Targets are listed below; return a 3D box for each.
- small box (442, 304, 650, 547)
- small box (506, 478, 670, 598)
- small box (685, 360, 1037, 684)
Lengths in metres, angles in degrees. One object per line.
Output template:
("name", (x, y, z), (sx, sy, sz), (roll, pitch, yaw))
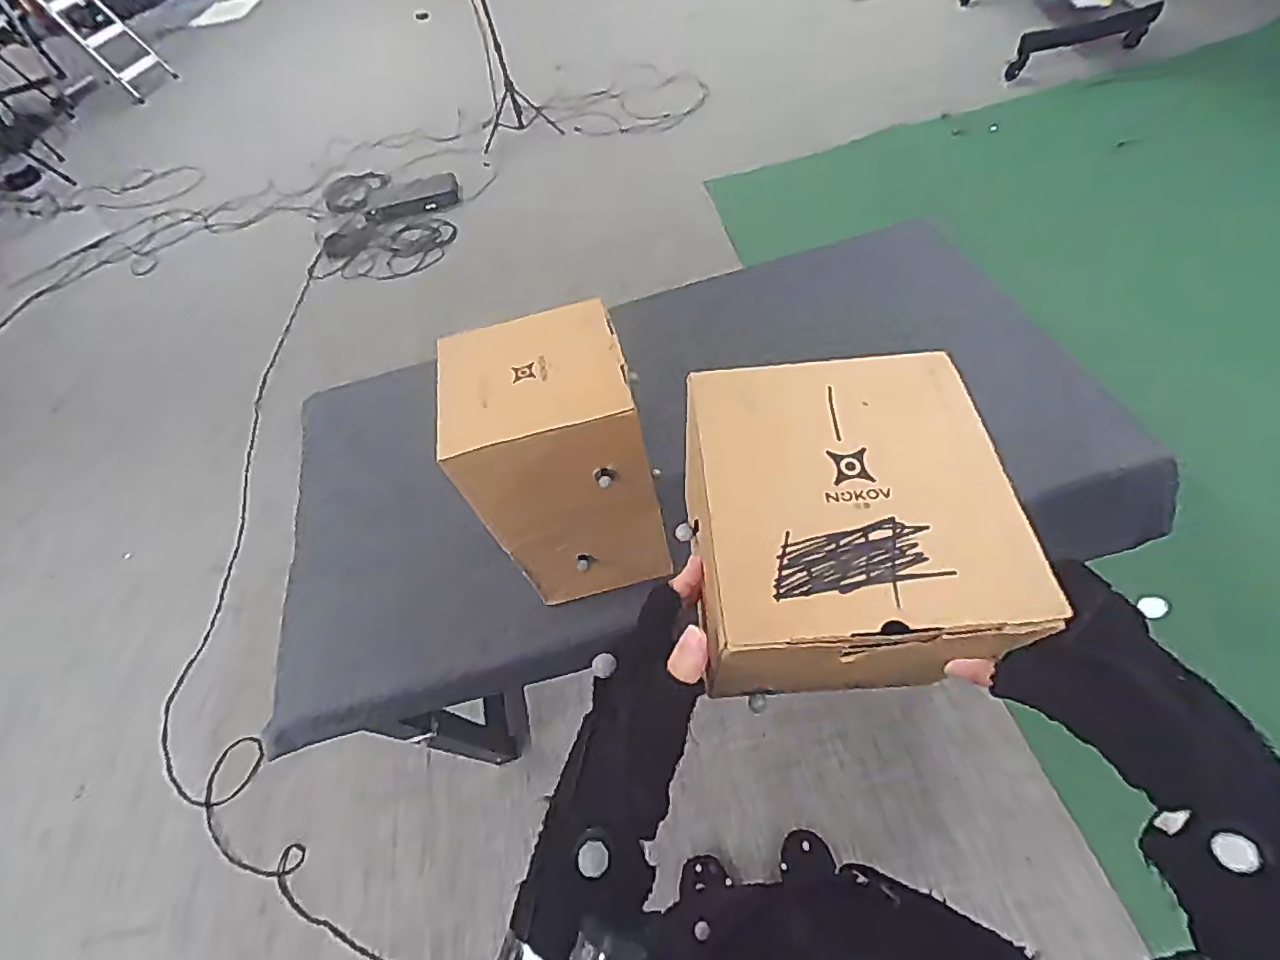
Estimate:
("small box", (-0.092, -0.052, 0.579), (0.179, 0.176, 0.168), (-15, 53, 0))
("small box", (-0.069, 0.037, 0.713), (0.179, 0.176, 0.168), (-15, 54, 0))
("small box", (0.121, 0.041, 0.383), (0.168, 0.176, 0.179), (-4, 59, 2))
